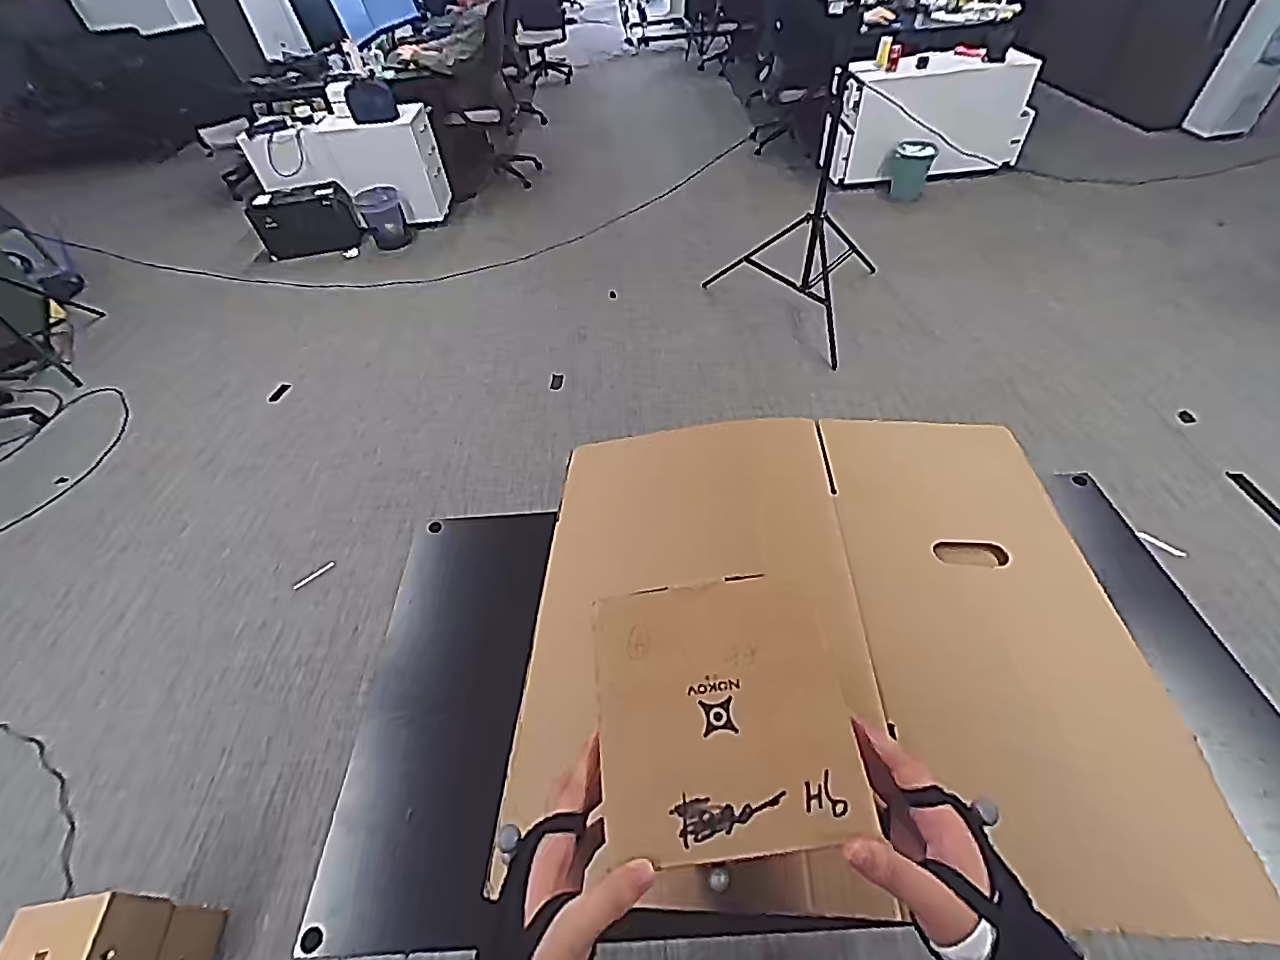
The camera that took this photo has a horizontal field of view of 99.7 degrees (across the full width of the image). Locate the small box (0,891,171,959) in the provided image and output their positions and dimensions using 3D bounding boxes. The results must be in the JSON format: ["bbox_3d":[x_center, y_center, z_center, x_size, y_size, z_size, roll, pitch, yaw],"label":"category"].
[{"bbox_3d":[-1.018,0.879,0.985,0.168,0.176,0.179,-9,47,-4],"label":"small box"}]

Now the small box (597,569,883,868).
[{"bbox_3d":[0.064,0.194,0.430,0.168,0.176,0.179,-10,55,3],"label":"small box"}]

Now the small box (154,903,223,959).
[{"bbox_3d":[-1.005,0.990,1.102,0.168,0.176,0.179,-7,49,-1],"label":"small box"}]
